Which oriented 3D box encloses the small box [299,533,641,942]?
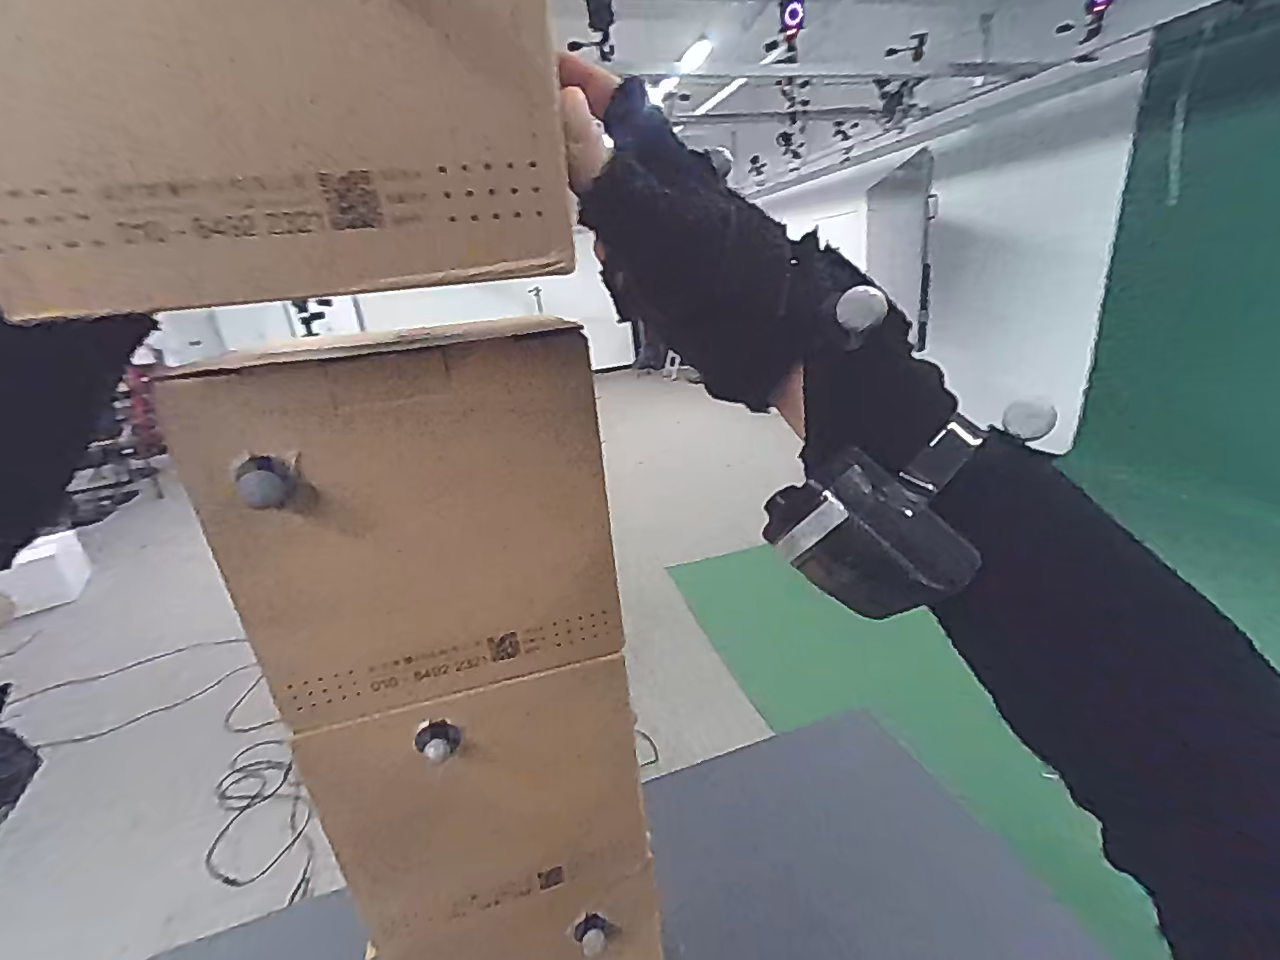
[{"bbox_3d":[-0.103,0.159,0.382,0.168,0.176,0.179,-11,20,-12],"label":"small box"}]

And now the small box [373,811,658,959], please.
[{"bbox_3d":[-0.089,0.312,0.437,0.179,0.176,0.168,-11,20,-14],"label":"small box"}]

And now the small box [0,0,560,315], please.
[{"bbox_3d":[-0.122,-0.165,0.197,0.168,0.176,0.179,-7,35,-6],"label":"small box"}]
